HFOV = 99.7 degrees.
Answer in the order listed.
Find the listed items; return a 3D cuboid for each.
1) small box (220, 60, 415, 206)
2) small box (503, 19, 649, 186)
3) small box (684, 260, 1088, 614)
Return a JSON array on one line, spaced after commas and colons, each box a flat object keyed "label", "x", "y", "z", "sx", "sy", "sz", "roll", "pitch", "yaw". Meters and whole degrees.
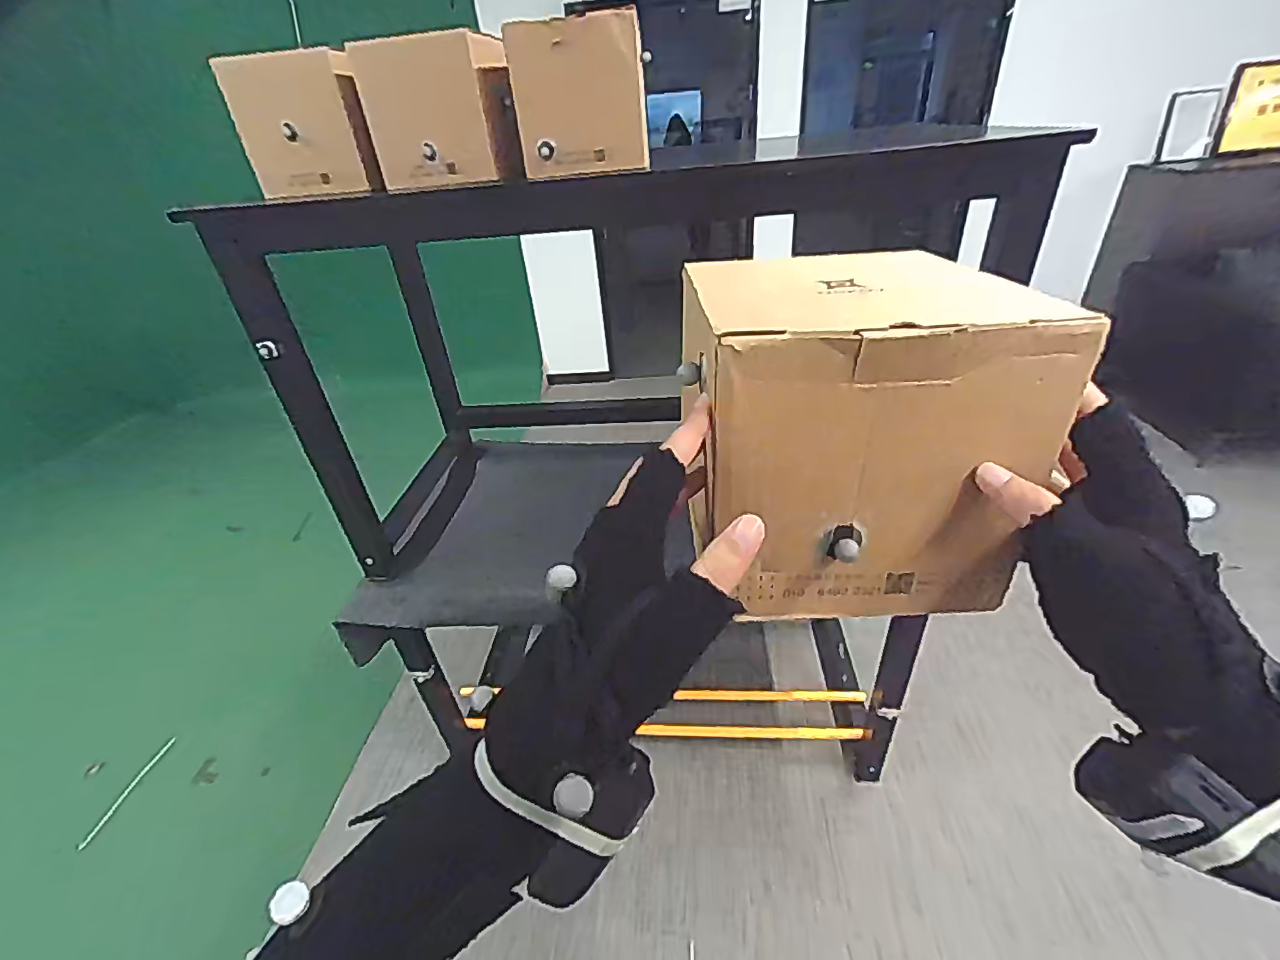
[{"label": "small box", "x": -0.470, "y": -0.521, "z": 0.826, "sx": 0.168, "sy": 0.176, "sz": 0.179, "roll": -1, "pitch": 33, "yaw": 6}, {"label": "small box", "x": -0.076, "y": -0.521, "z": 0.766, "sx": 0.168, "sy": 0.176, "sz": 0.179, "roll": -3, "pitch": 32, "yaw": 5}, {"label": "small box", "x": 0.115, "y": -0.037, "z": 0.345, "sx": 0.168, "sy": 0.176, "sz": 0.179, "roll": -3, "pitch": 30, "yaw": 1}]
